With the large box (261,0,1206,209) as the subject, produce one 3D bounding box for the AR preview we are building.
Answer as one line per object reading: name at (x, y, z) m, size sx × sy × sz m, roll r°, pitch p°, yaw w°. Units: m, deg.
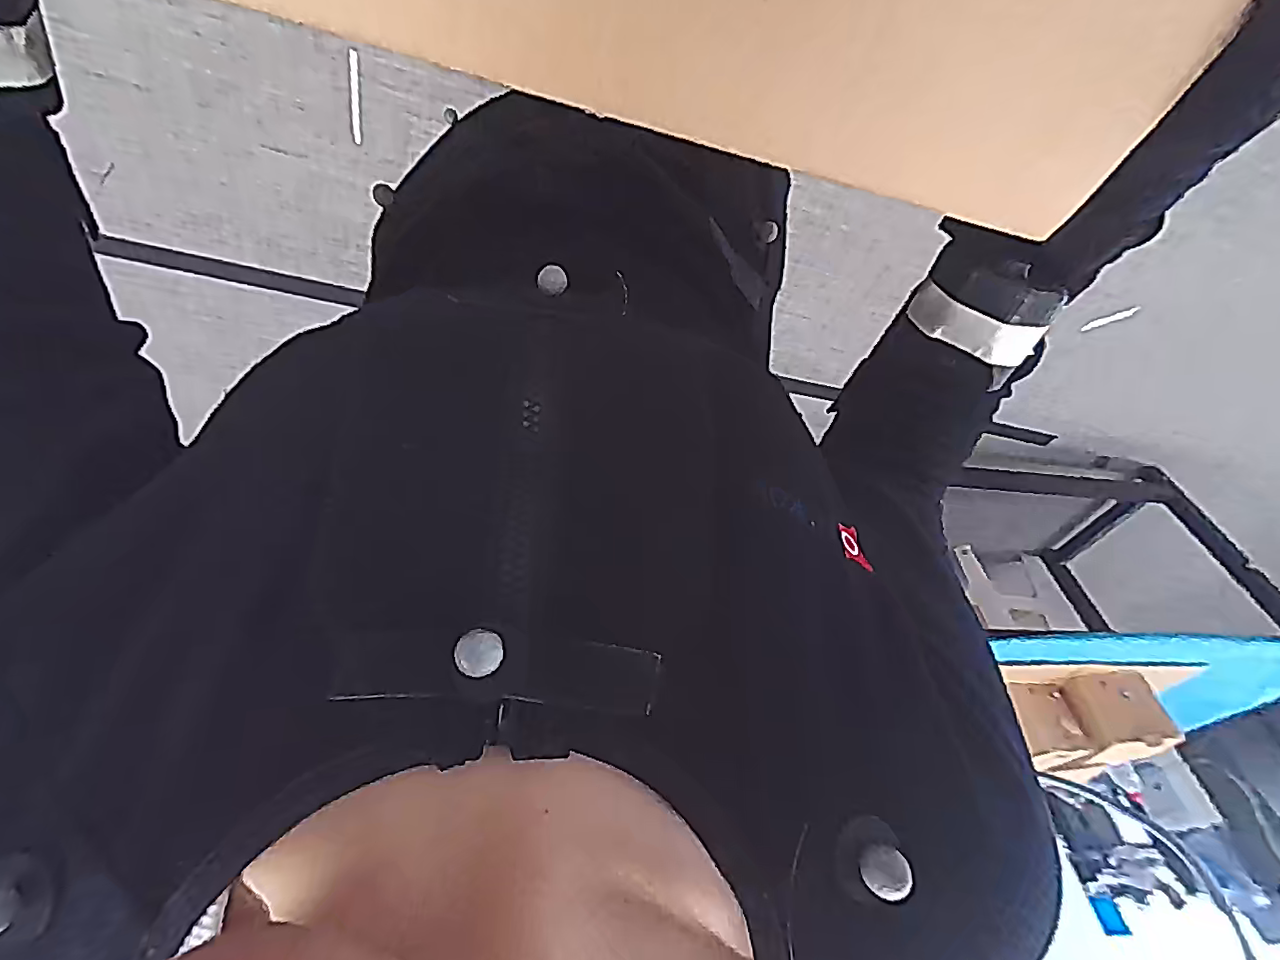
large box at (0.012, -0.346, 0.158) m, size 0.408 × 0.320 × 0.320 m, roll 8°, pitch 143°, yaw -13°
